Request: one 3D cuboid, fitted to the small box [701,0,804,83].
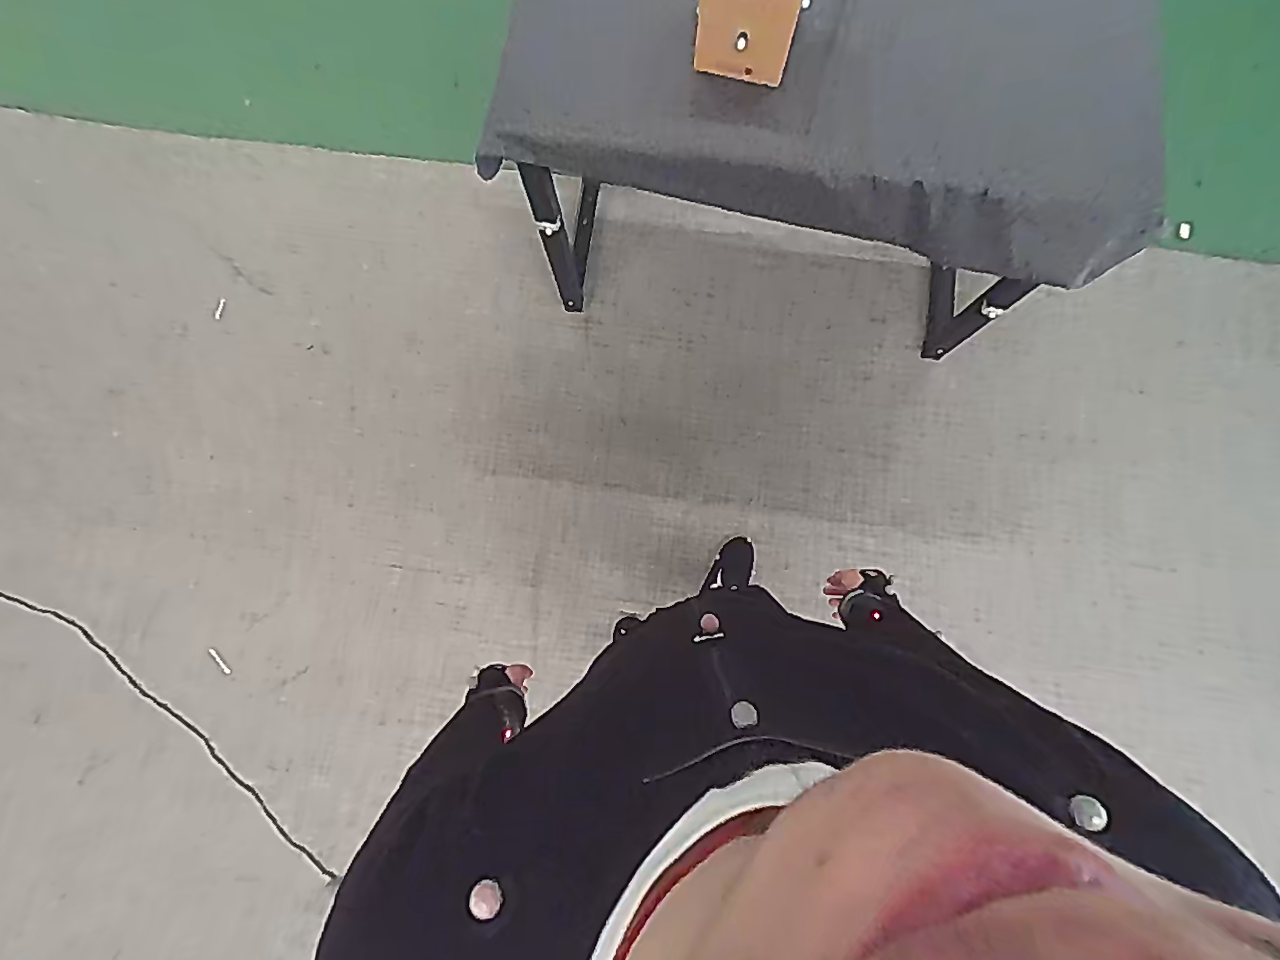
[{"bbox_3d":[0.202,-0.840,0.940,0.168,0.176,0.179,11,80,4],"label":"small box"}]
